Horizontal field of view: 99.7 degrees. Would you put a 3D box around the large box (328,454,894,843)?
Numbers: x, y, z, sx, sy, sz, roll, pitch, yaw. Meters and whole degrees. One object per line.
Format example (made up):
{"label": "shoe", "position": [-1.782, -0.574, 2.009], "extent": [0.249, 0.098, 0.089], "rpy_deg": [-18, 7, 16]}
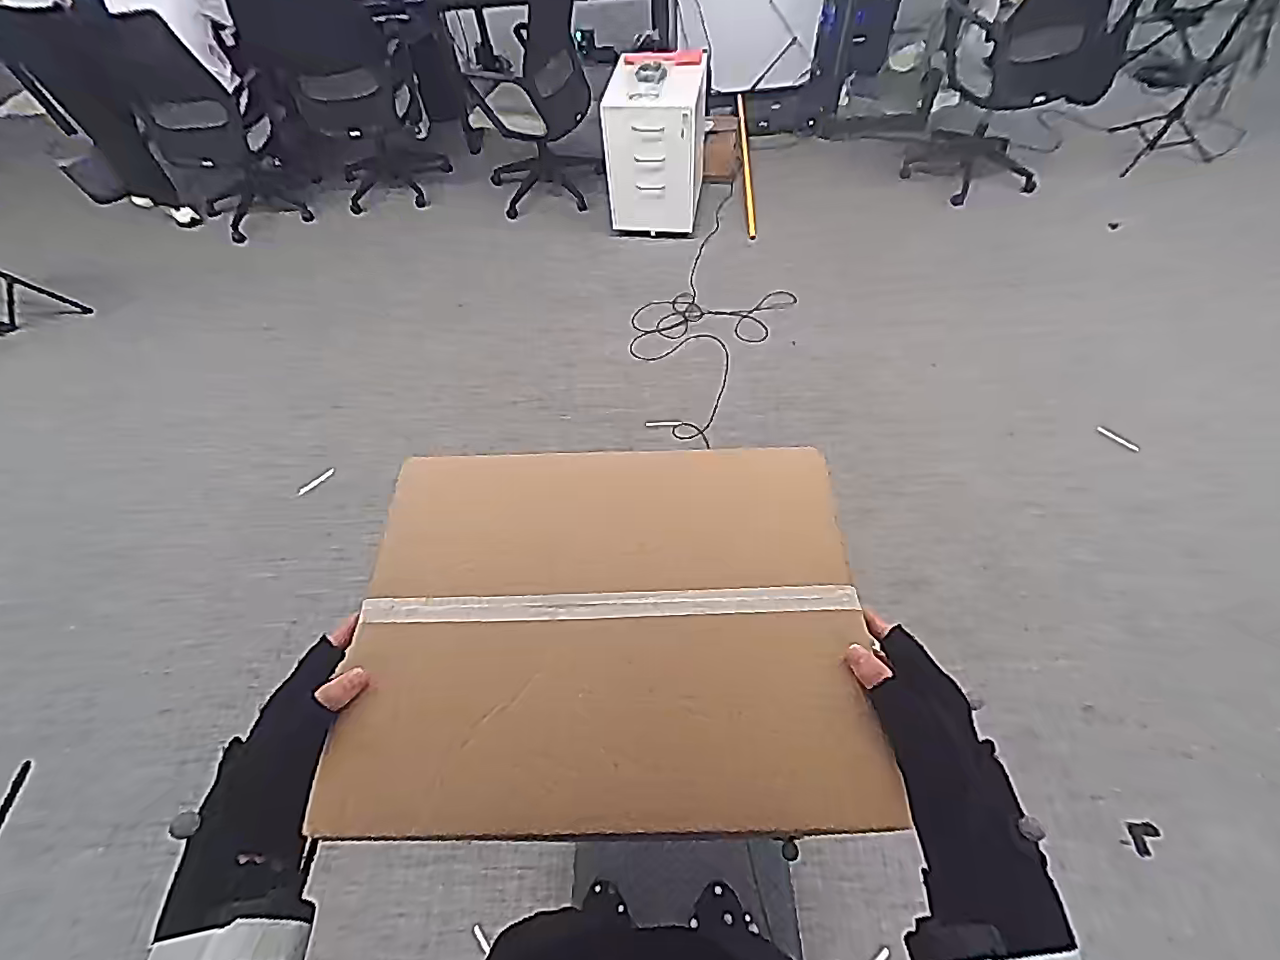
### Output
{"label": "large box", "position": [-0.019, 0.192, 0.578], "extent": [0.408, 0.320, 0.320], "rpy_deg": [-2, 56, 1]}
